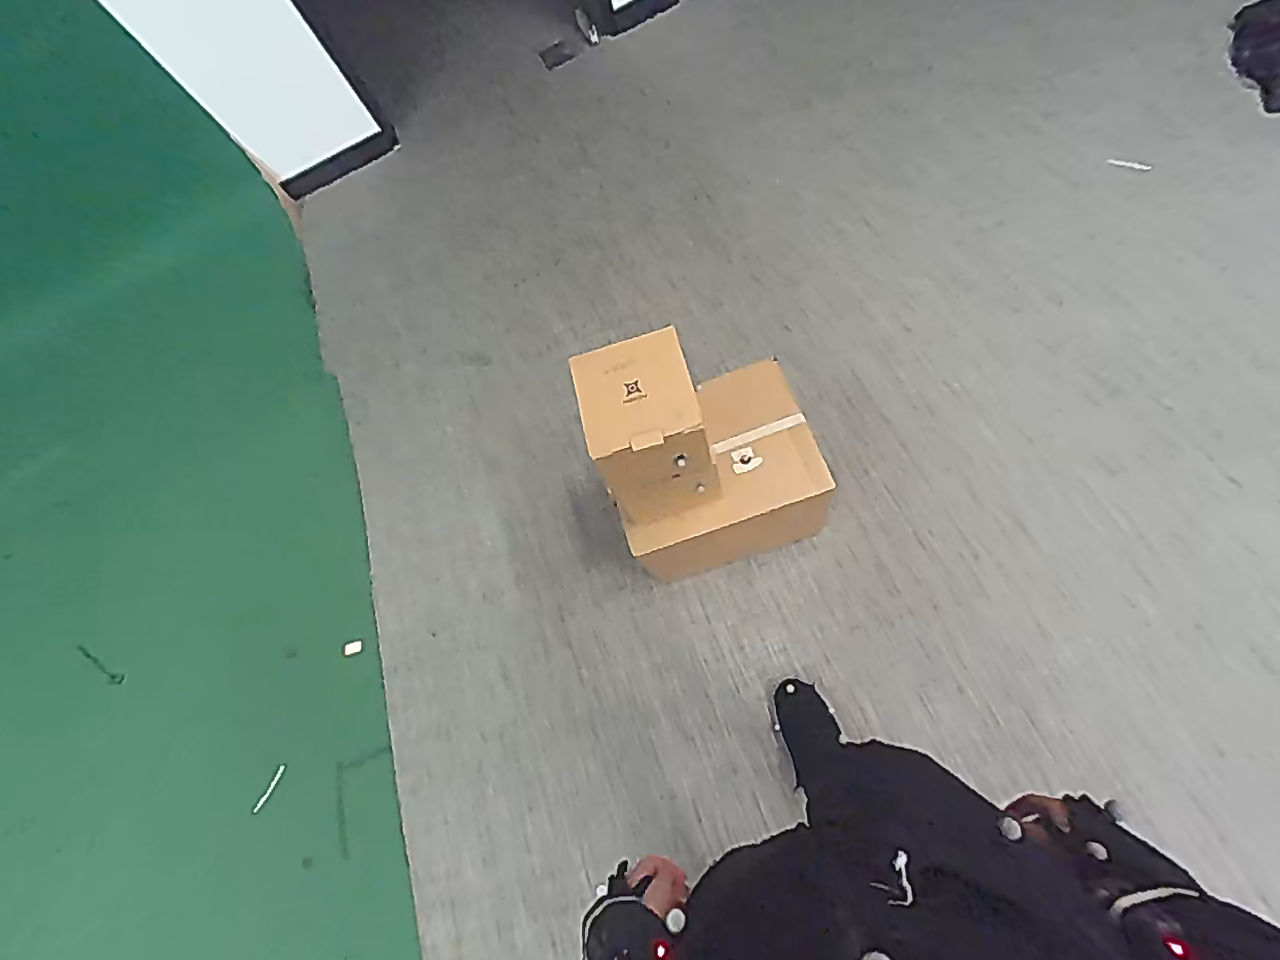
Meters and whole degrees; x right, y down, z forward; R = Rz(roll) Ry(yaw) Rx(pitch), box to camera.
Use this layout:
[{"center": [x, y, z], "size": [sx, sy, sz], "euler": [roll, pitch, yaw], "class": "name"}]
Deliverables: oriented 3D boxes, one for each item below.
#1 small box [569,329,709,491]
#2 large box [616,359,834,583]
[{"center": [0.005, -0.095, 0.837], "size": [0.168, 0.176, 0.179], "euler": [-16, 66, 4], "class": "small box"}, {"center": [0.163, 0.001, 1.210], "size": [0.408, 0.320, 0.320], "euler": [-19, 67, 4], "class": "large box"}]
